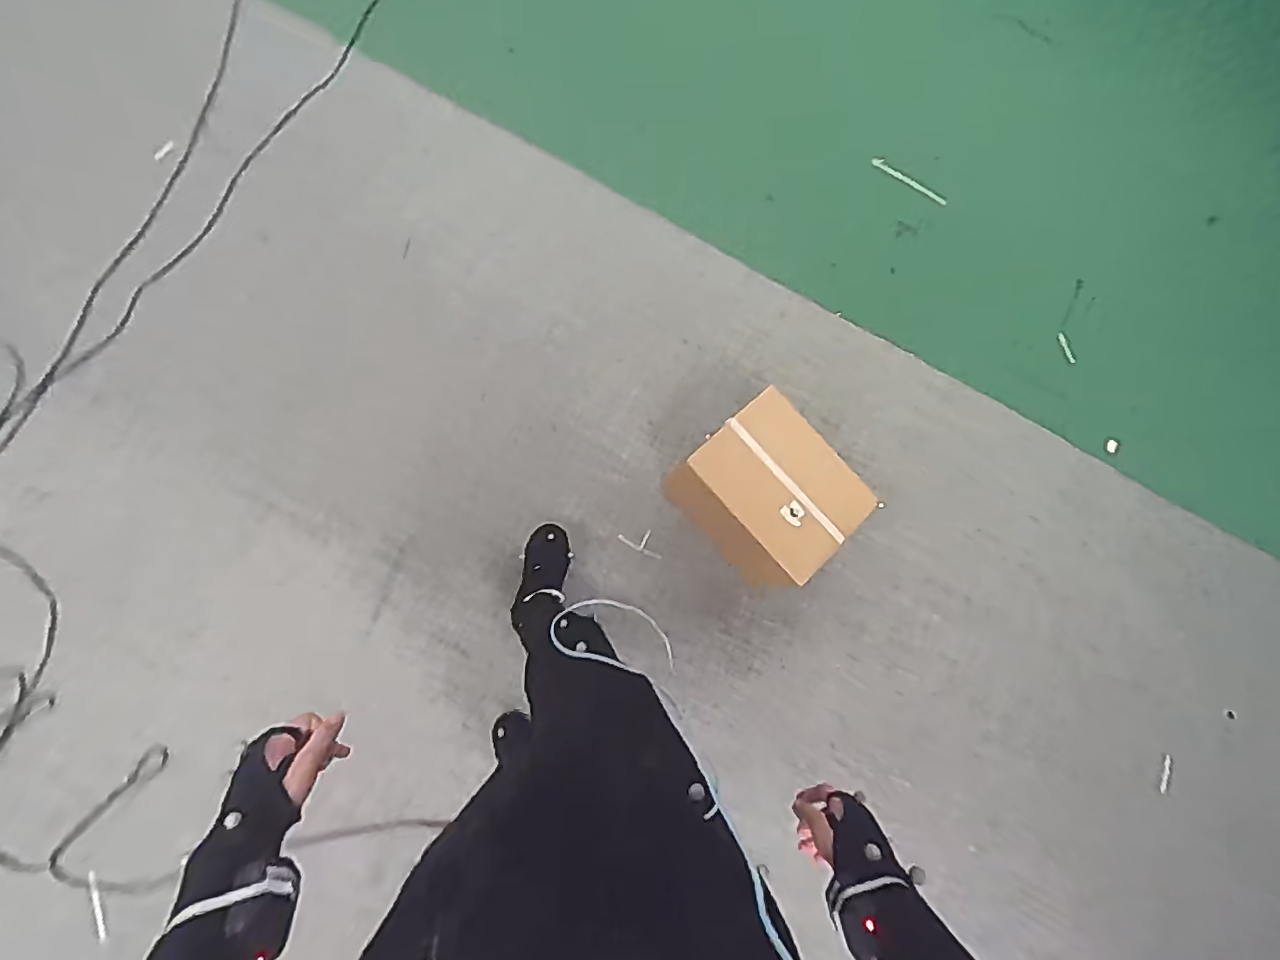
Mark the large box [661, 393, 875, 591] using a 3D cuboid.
[{"bbox_3d":[0.322,0.048,1.464,0.320,0.320,0.408,-42,87,-16],"label":"large box"}]
